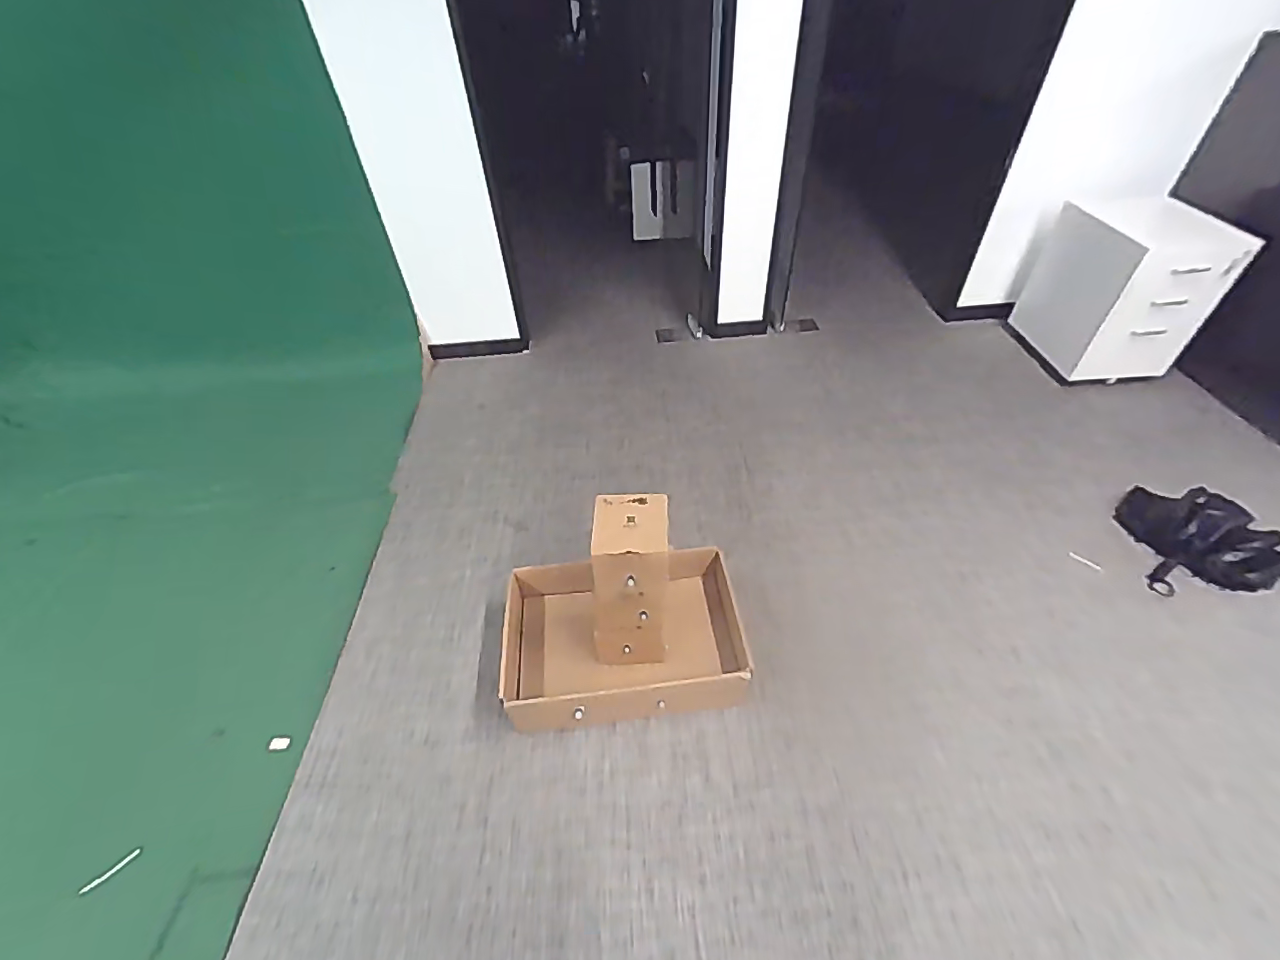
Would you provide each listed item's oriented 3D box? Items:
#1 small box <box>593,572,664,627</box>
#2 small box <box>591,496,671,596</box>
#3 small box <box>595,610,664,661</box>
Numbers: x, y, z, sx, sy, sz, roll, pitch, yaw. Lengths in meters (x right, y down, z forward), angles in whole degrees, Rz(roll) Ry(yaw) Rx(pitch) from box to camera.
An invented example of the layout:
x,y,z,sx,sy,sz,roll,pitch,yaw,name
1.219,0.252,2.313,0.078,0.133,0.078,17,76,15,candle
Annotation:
x,y,z,sx,sy,sz,roll,pitch,yaw,name
-0.022,0.259,1.375,0.168,0.176,0.179,0,44,3,small box
-0.014,0.161,1.270,0.168,0.176,0.179,-3,44,5,small box
-0.022,0.388,1.498,0.179,0.176,0.168,-3,44,4,small box
